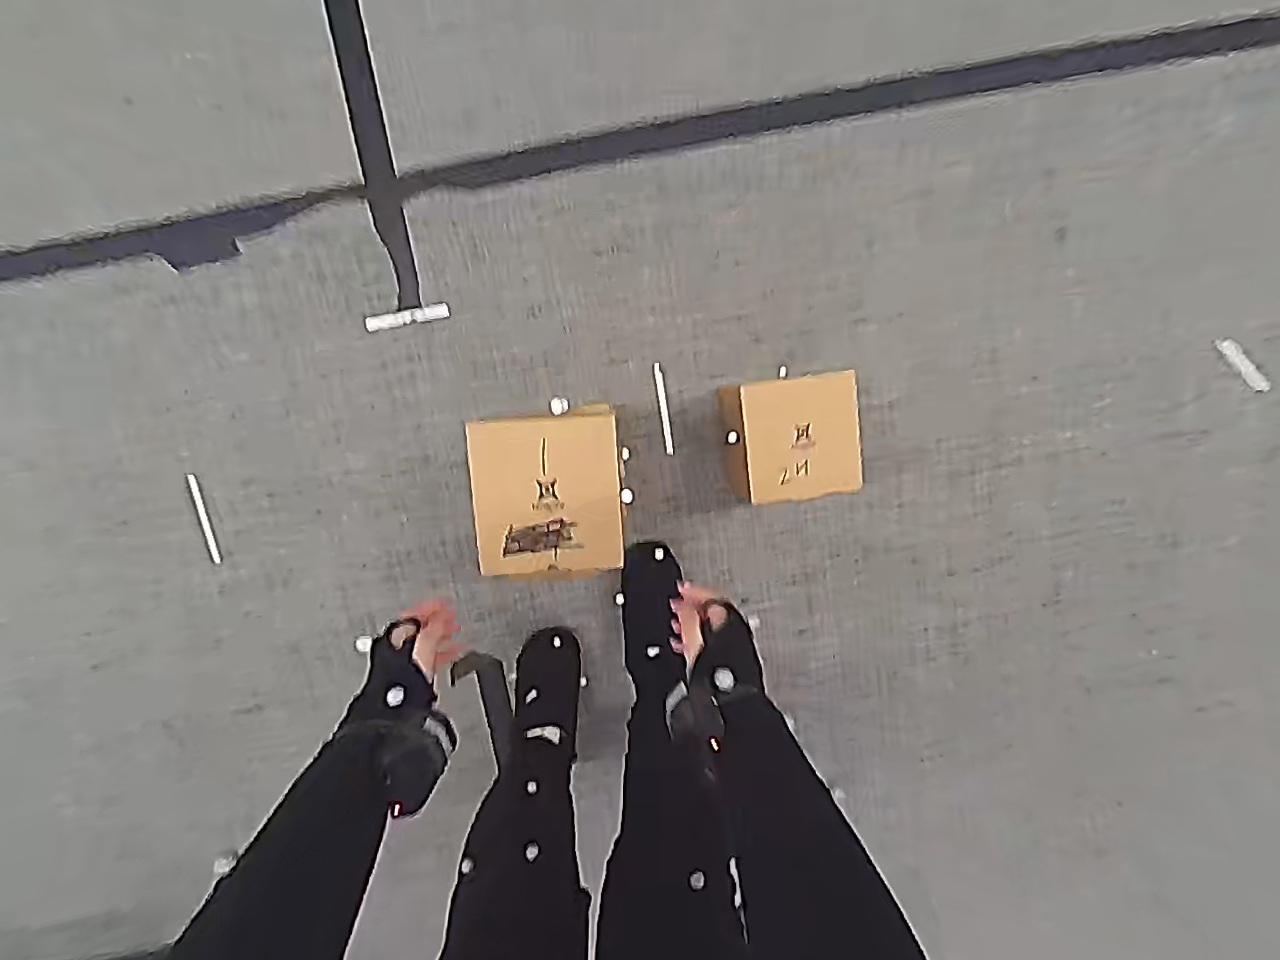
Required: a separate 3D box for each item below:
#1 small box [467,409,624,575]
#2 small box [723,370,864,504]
[{"bbox_3d":[-0.104,0.005,0.673,0.168,0.176,0.179,-3,99,-2],"label":"small box"},{"bbox_3d":[0.229,-0.070,0.841,0.168,0.176,0.179,-7,100,-1],"label":"small box"}]
